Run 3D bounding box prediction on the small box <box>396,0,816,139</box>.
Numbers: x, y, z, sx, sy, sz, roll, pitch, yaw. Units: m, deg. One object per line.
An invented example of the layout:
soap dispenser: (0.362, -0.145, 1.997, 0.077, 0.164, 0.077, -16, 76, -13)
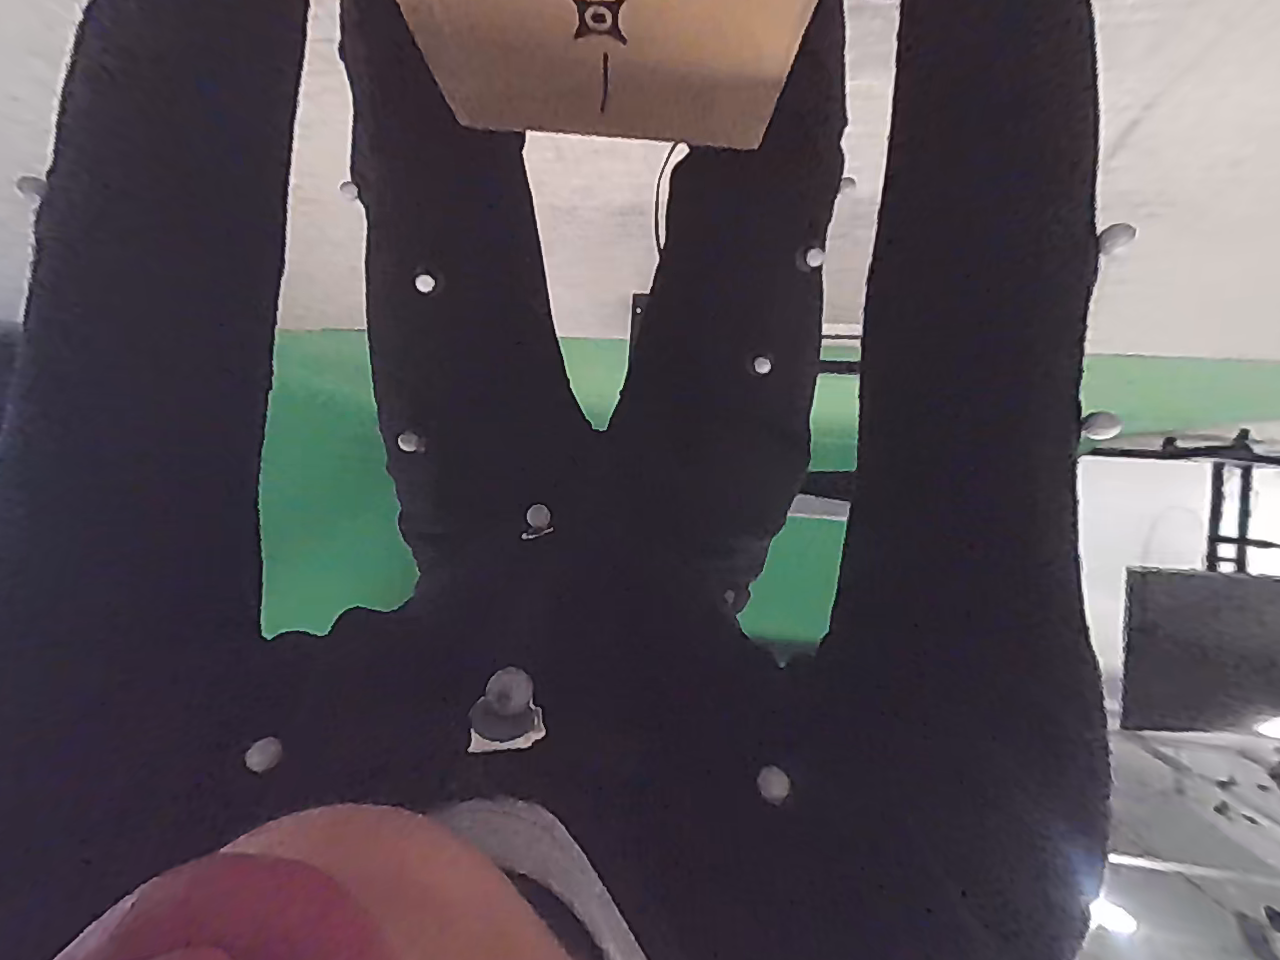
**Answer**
small box: (-0.010, -0.266, 0.199, 0.168, 0.176, 0.179, 5, -177, -1)
